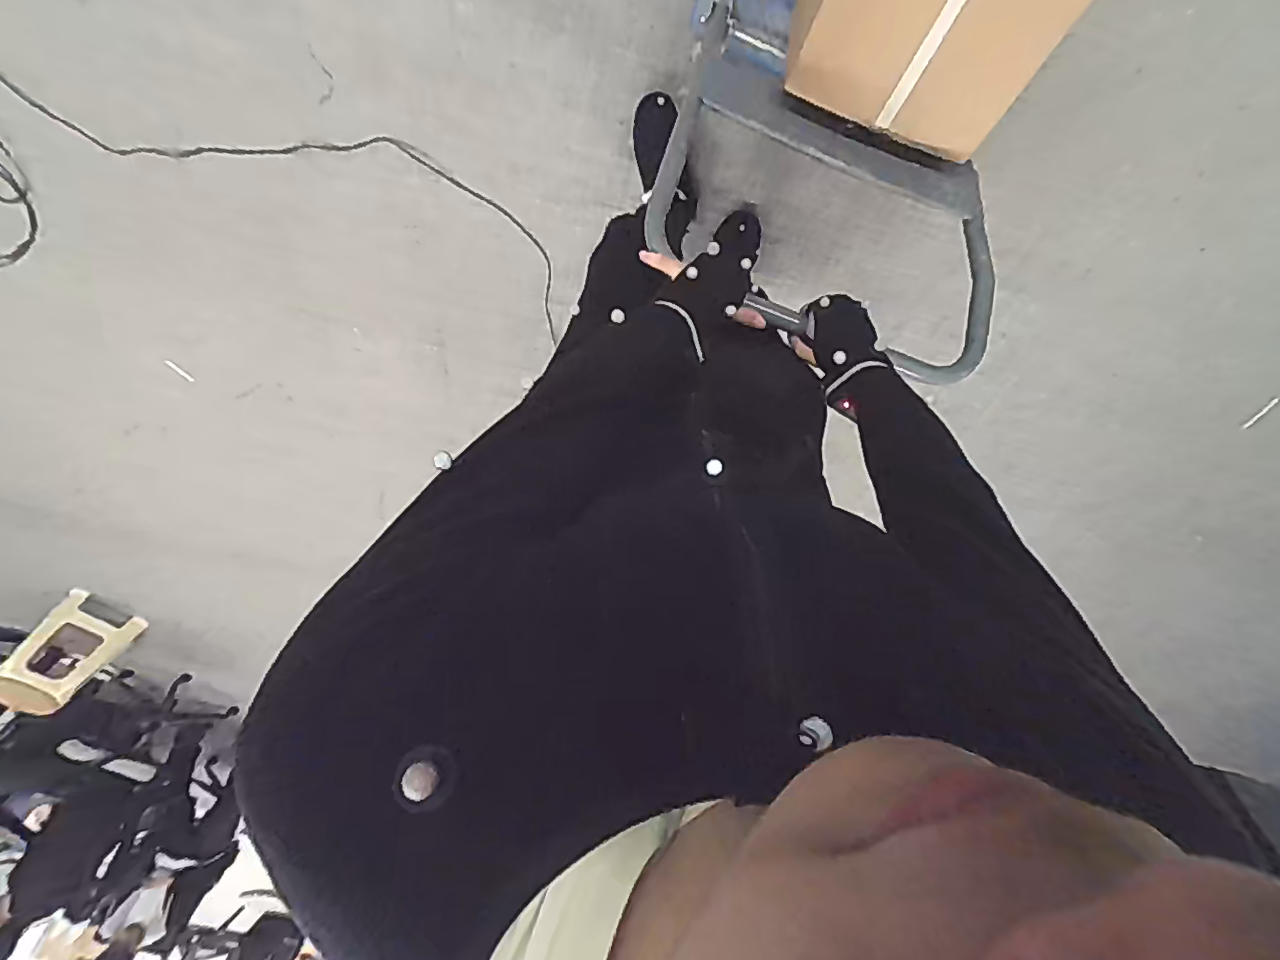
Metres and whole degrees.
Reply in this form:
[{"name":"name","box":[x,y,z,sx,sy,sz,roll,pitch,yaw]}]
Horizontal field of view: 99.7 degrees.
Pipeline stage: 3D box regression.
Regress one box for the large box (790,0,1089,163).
[{"name":"large box","box":[0.444,-0.757,0.752,0.320,0.320,0.408,17,145,-7]}]
